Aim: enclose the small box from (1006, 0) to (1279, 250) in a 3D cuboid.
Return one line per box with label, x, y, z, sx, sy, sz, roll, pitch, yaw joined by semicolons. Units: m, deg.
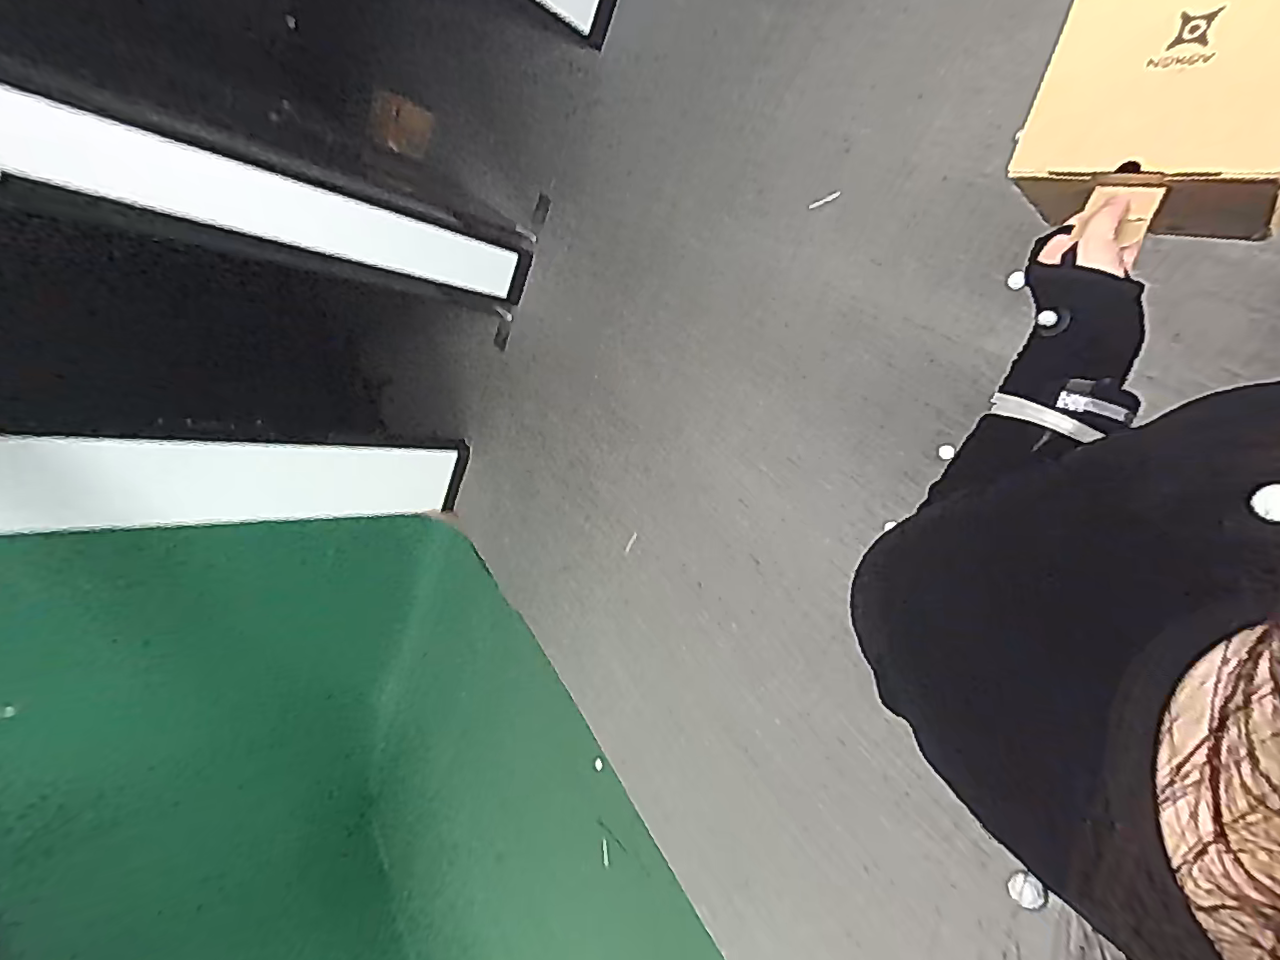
small box;0.439;-0.303;0.436;0.168;0.176;0.179;30;115;41
